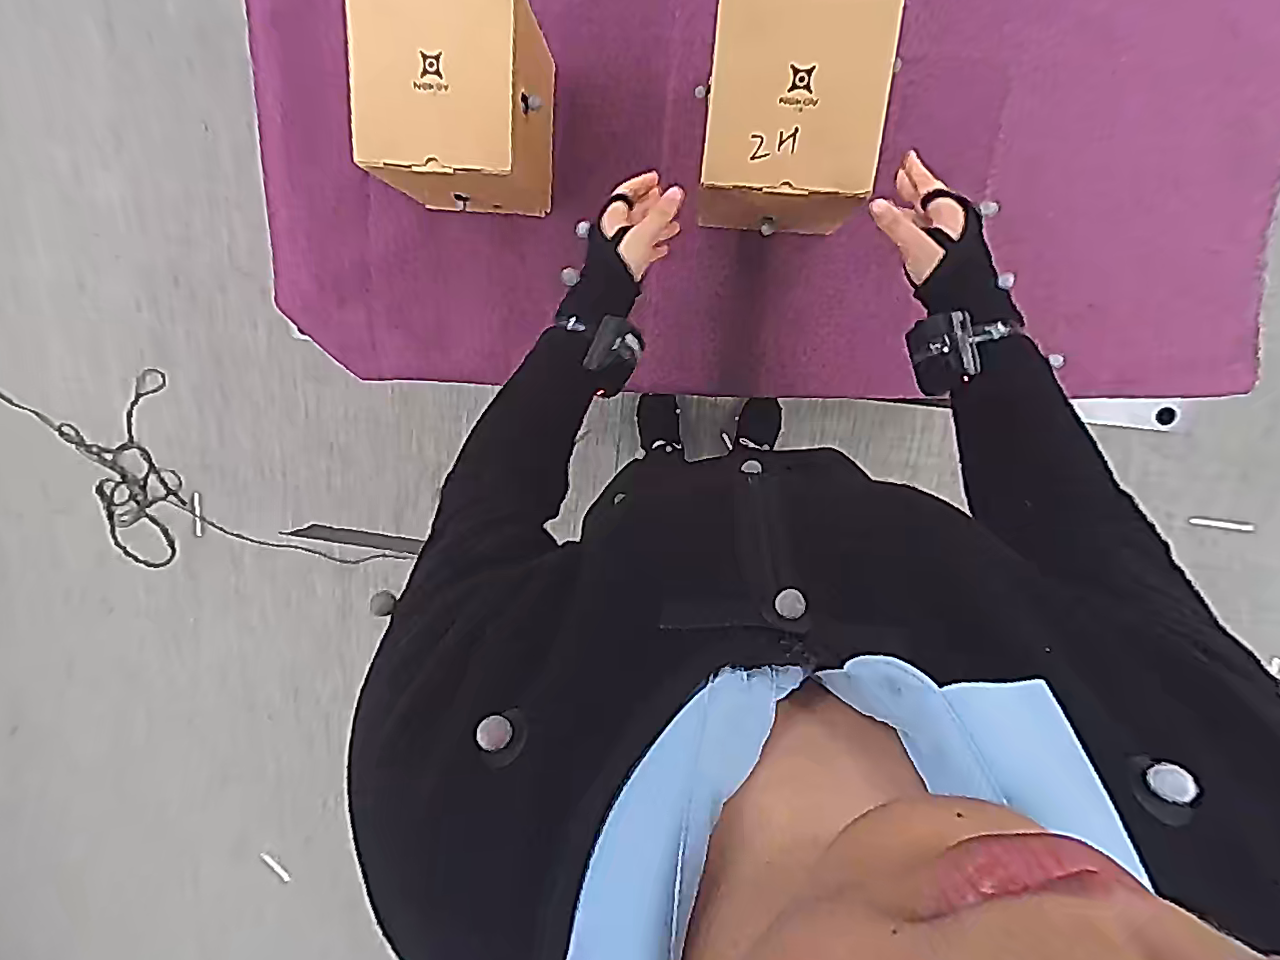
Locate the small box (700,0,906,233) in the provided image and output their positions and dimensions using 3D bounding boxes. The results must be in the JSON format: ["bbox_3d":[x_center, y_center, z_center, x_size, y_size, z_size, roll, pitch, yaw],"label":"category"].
[{"bbox_3d":[0.155,-0.382,0.579,0.168,0.176,0.179,6,104,4],"label":"small box"}]

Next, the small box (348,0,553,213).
[{"bbox_3d":[-0.196,-0.416,0.602,0.168,0.176,0.179,5,104,3],"label":"small box"}]
